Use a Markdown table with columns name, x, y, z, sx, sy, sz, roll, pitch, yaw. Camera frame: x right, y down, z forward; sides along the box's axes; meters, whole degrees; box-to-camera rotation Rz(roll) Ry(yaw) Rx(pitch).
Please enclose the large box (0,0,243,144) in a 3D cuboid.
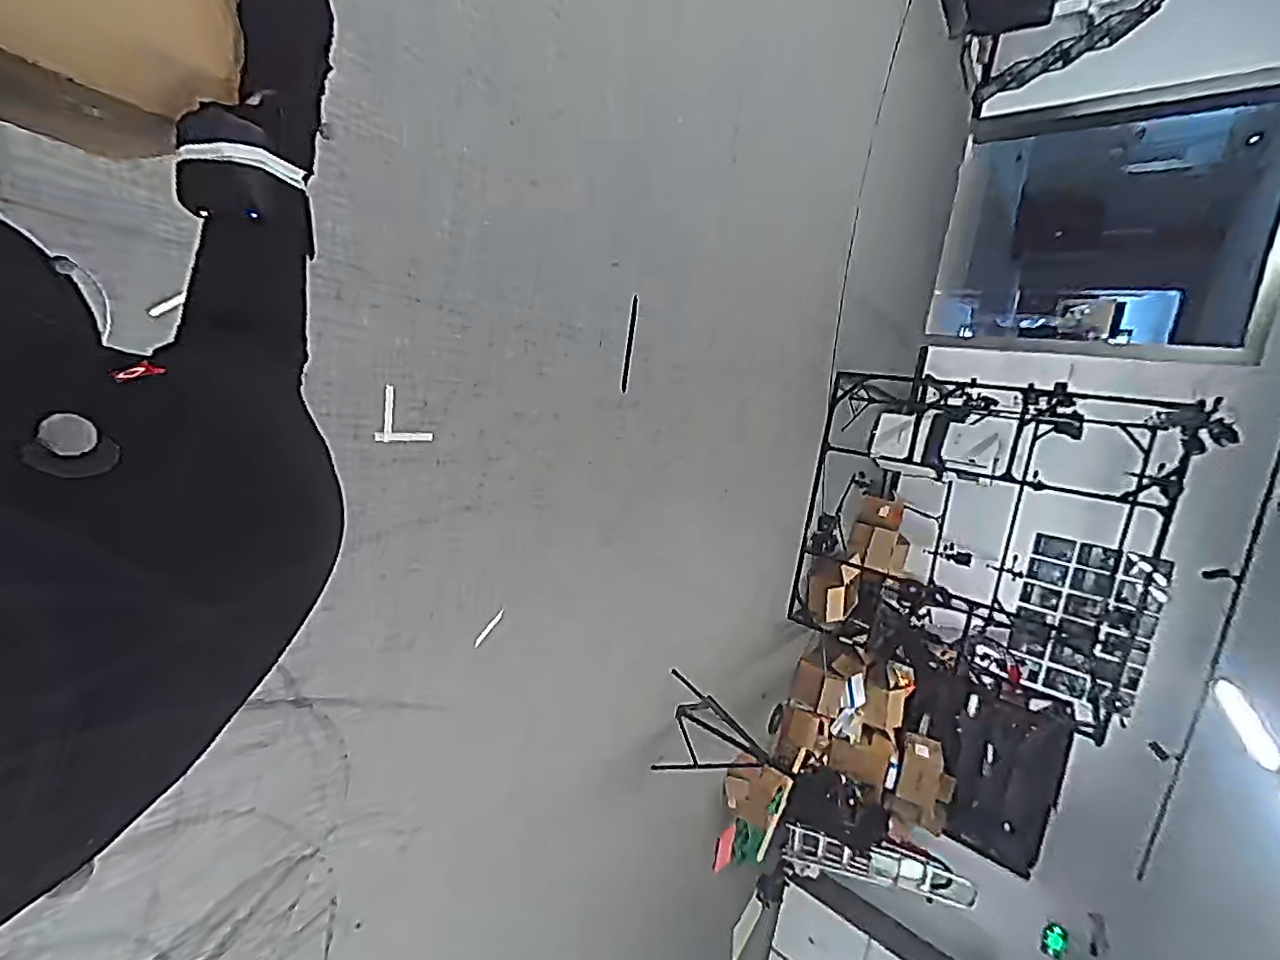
| name | x | y | z | sx | sy | sz | roll | pitch | yaw |
| --- | --- | --- | --- | --- | --- | --- | --- | --- | --- |
| large box | -0.511 | -0.452 | 0.305 | 0.408 | 0.320 | 0.320 | 0 | 108 | -56 |
